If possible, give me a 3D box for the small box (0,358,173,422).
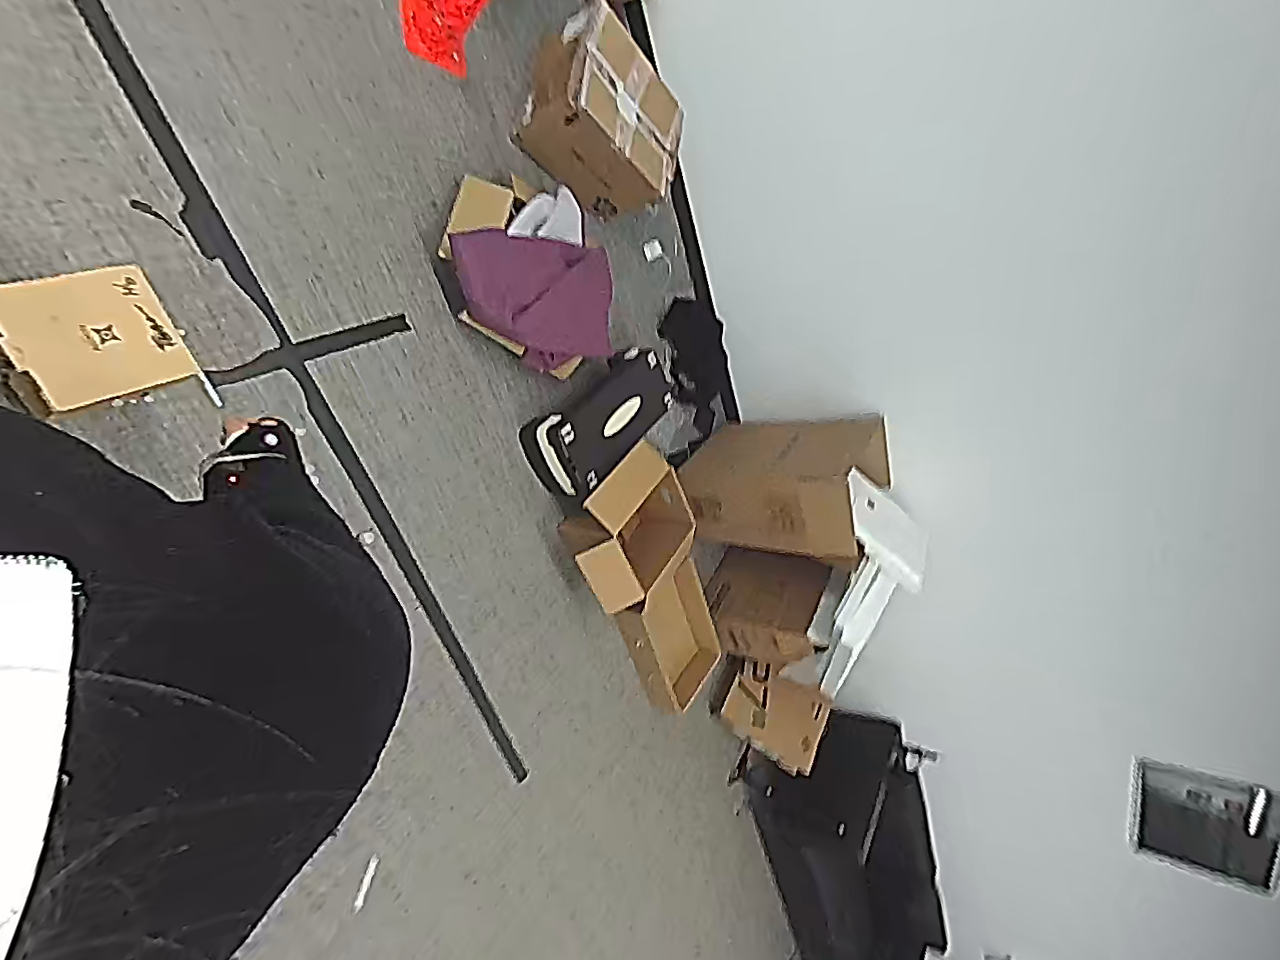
[{"bbox_3d":[-0.941,-0.204,0.900,0.179,0.176,0.168,-39,119,-43],"label":"small box"}]

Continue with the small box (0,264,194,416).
[{"bbox_3d":[-0.815,-0.201,0.796,0.179,0.176,0.168,-38,119,-43],"label":"small box"}]
